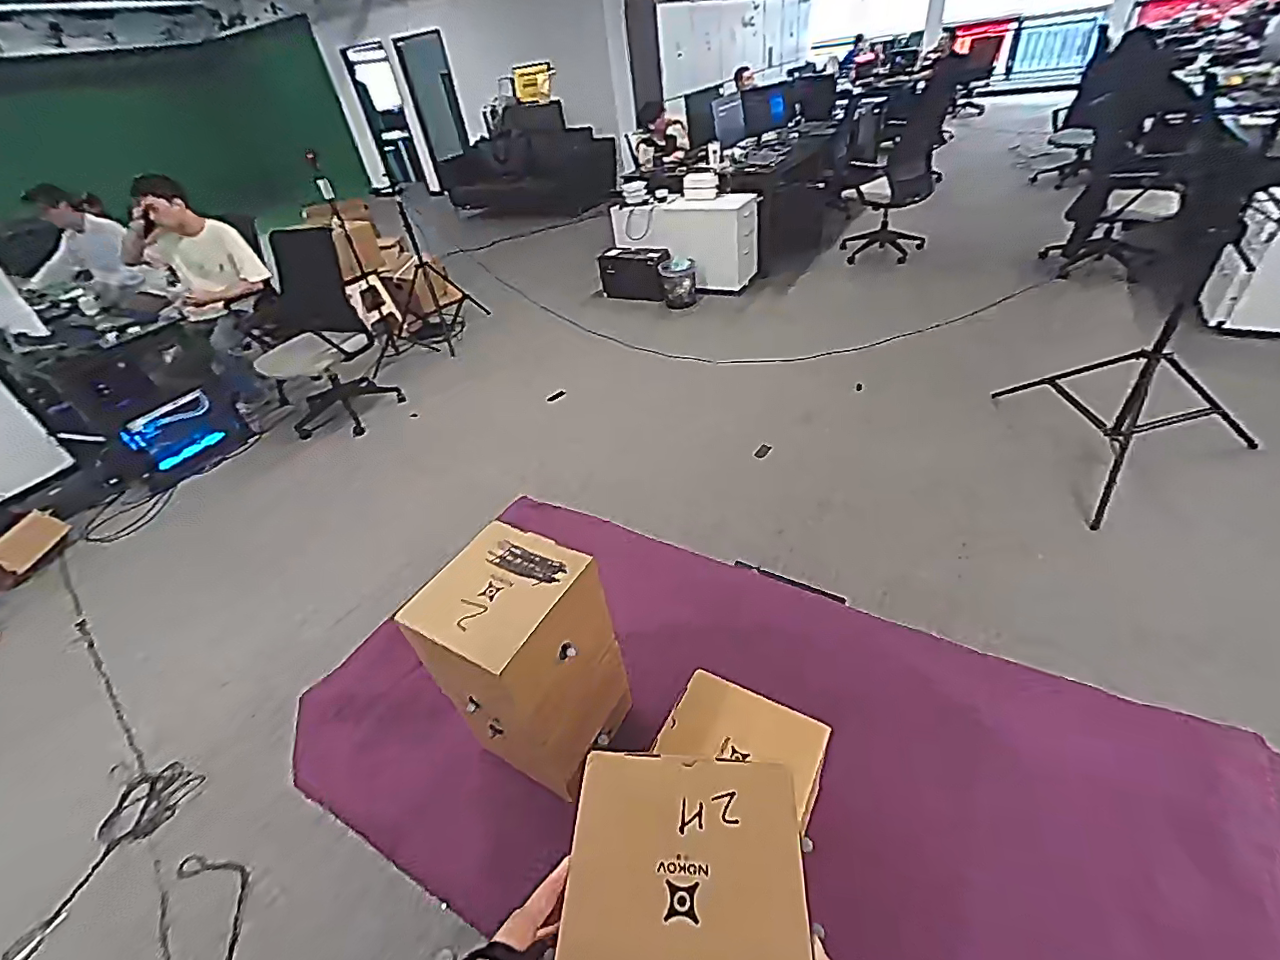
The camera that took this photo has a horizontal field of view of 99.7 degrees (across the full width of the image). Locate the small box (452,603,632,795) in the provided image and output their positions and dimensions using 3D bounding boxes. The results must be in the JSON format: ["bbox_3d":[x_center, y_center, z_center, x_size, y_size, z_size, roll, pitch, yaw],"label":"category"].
[{"bbox_3d":[-0.131,0.316,0.784,0.179,0.176,0.168,15,45,27],"label":"small box"}]

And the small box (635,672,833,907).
[{"bbox_3d":[0.119,0.377,0.659,0.179,0.176,0.168,15,44,28],"label":"small box"}]
